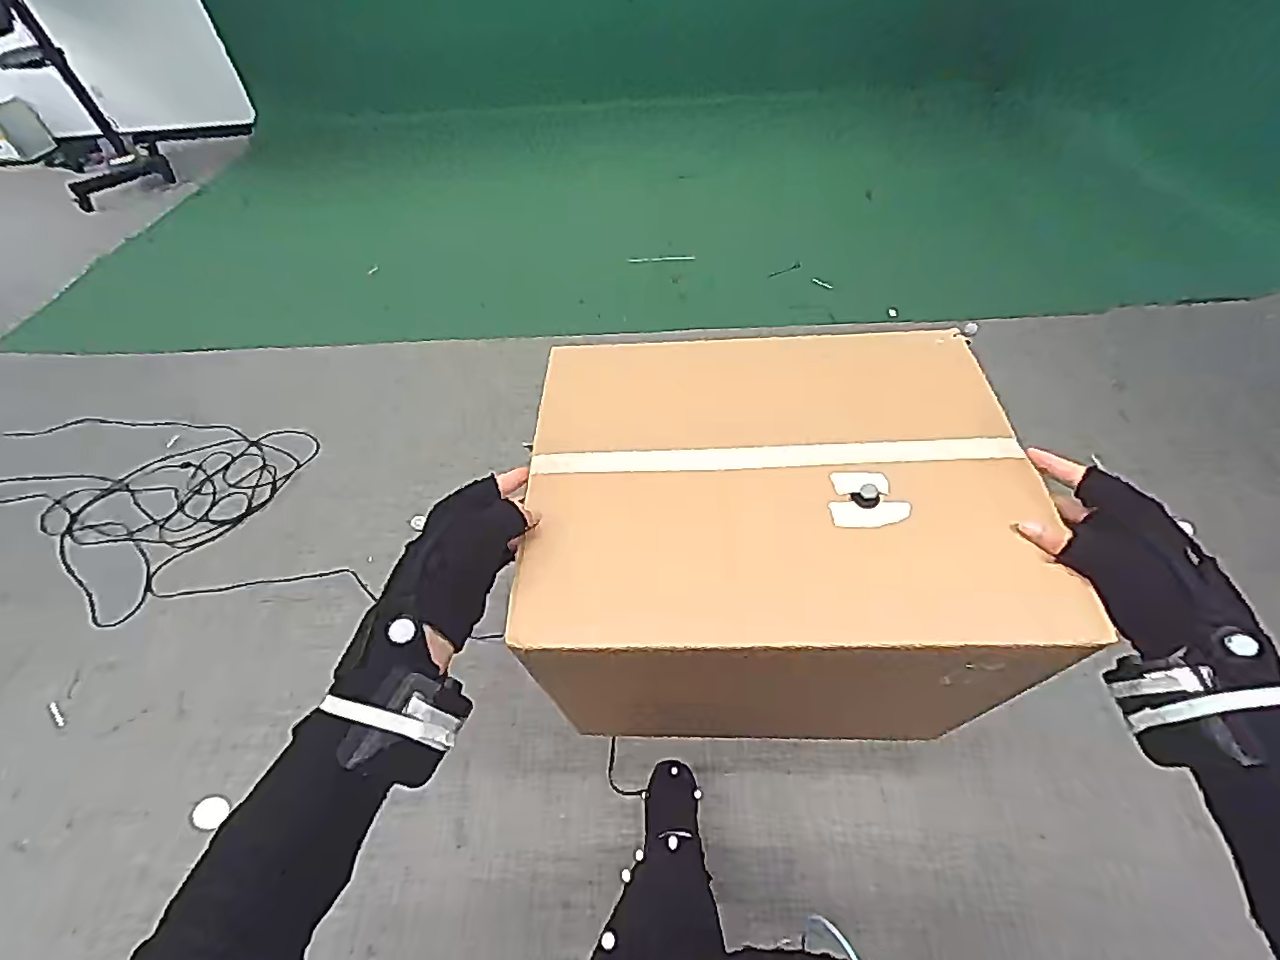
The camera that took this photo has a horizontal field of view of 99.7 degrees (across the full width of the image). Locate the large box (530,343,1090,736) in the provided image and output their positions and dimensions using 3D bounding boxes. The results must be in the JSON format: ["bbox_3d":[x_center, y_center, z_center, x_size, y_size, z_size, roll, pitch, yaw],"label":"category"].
[{"bbox_3d":[0.123,0.078,0.588,0.408,0.320,0.320,-2,54,3],"label":"large box"}]
